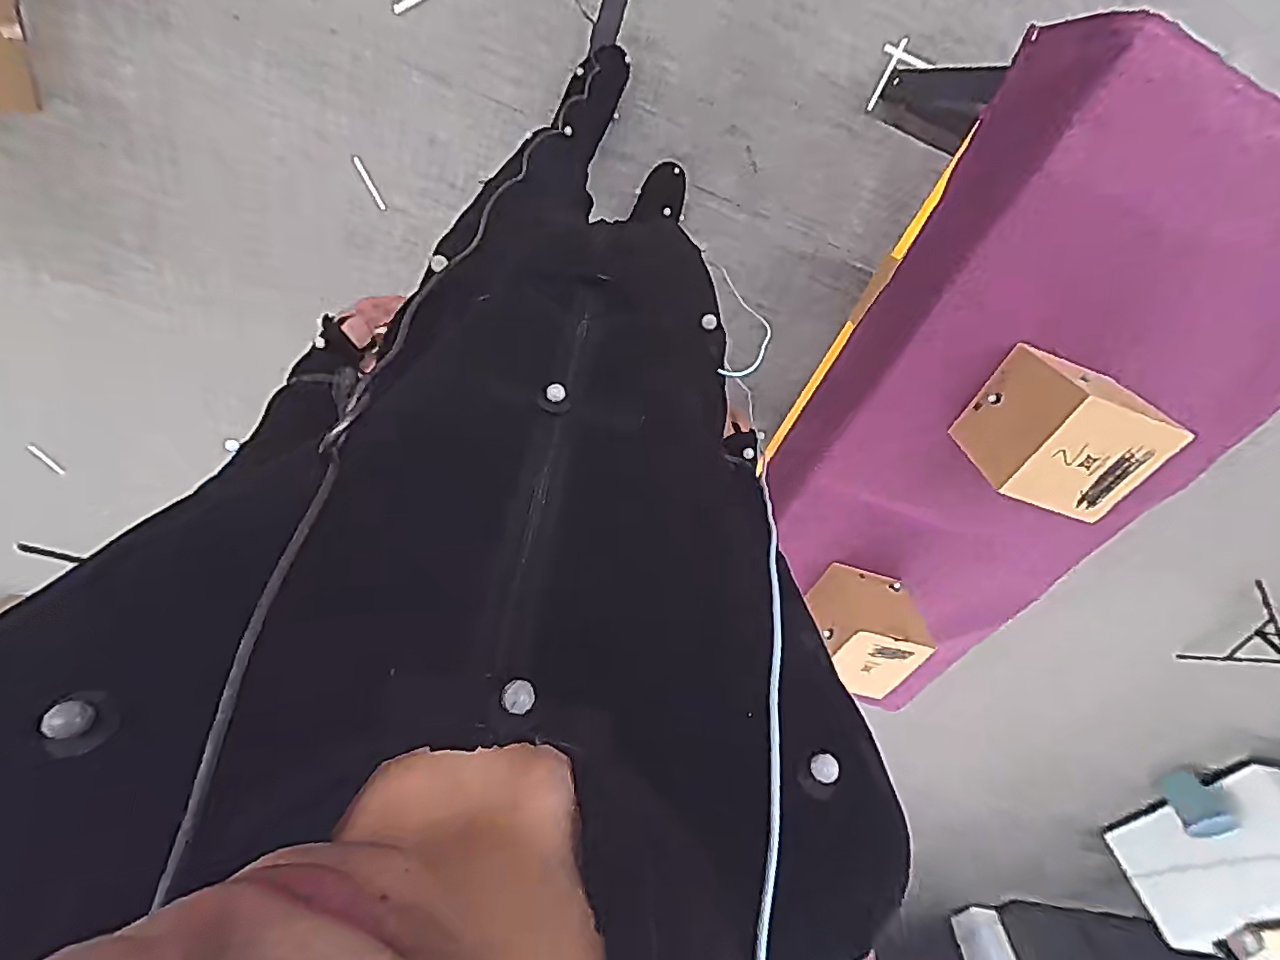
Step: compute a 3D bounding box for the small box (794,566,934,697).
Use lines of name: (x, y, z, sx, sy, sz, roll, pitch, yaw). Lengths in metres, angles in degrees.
small box: (0.428, 0.297, 1.072, 0.168, 0.176, 0.179, 17, 126, -12)

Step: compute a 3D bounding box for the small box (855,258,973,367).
small box: (0.649, -0.409, 1.313, 0.168, 0.176, 0.179, 16, 125, -11)
